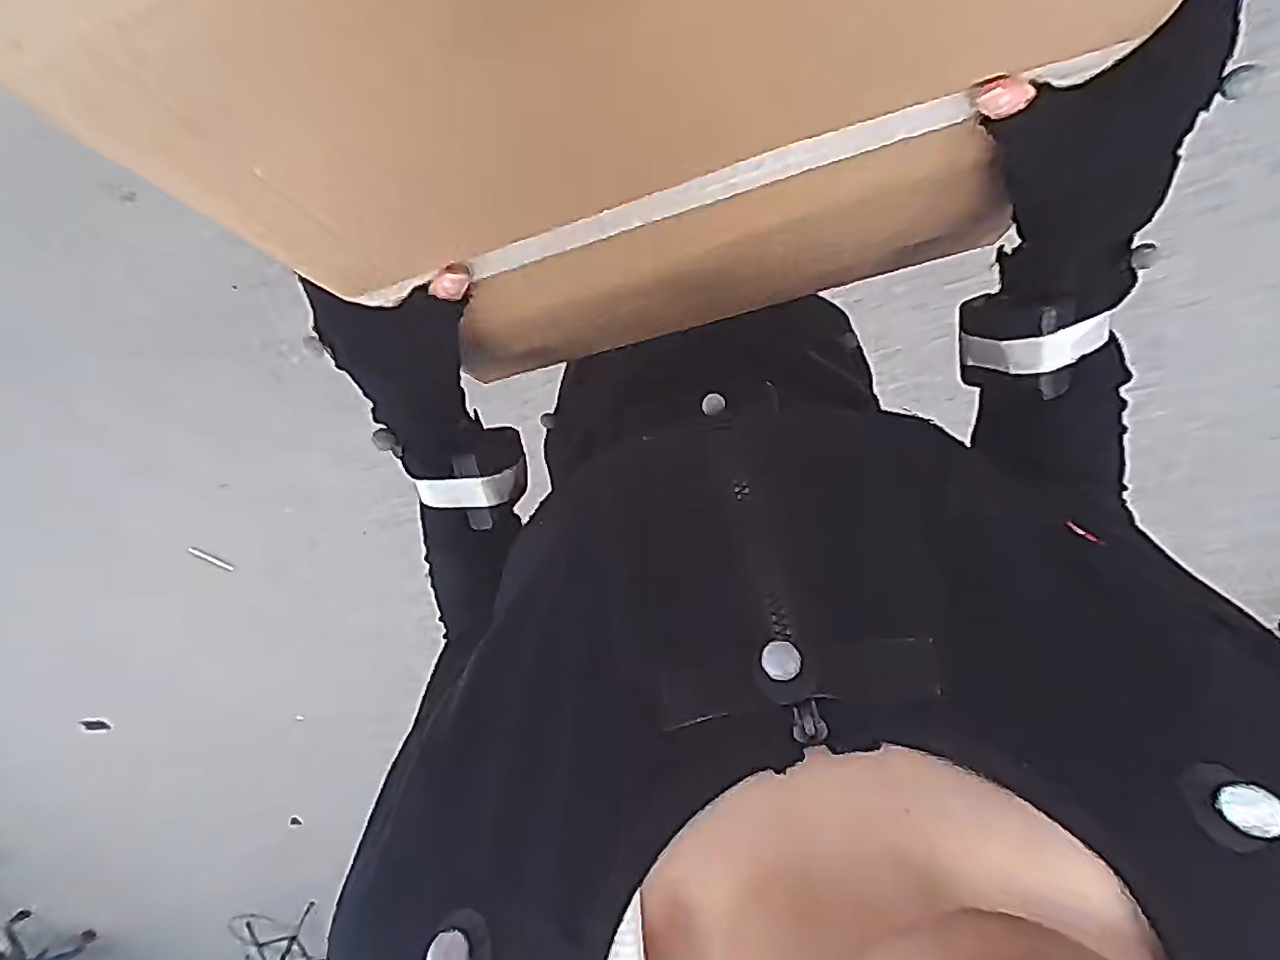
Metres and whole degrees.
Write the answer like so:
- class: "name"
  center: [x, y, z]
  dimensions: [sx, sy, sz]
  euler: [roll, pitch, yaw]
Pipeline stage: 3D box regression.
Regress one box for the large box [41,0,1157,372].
- class: "large box"
  center: [-0.002, -0.301, 0.306]
  dimensions: [0.408, 0.320, 0.320]
  euler: [-13, 81, 10]
